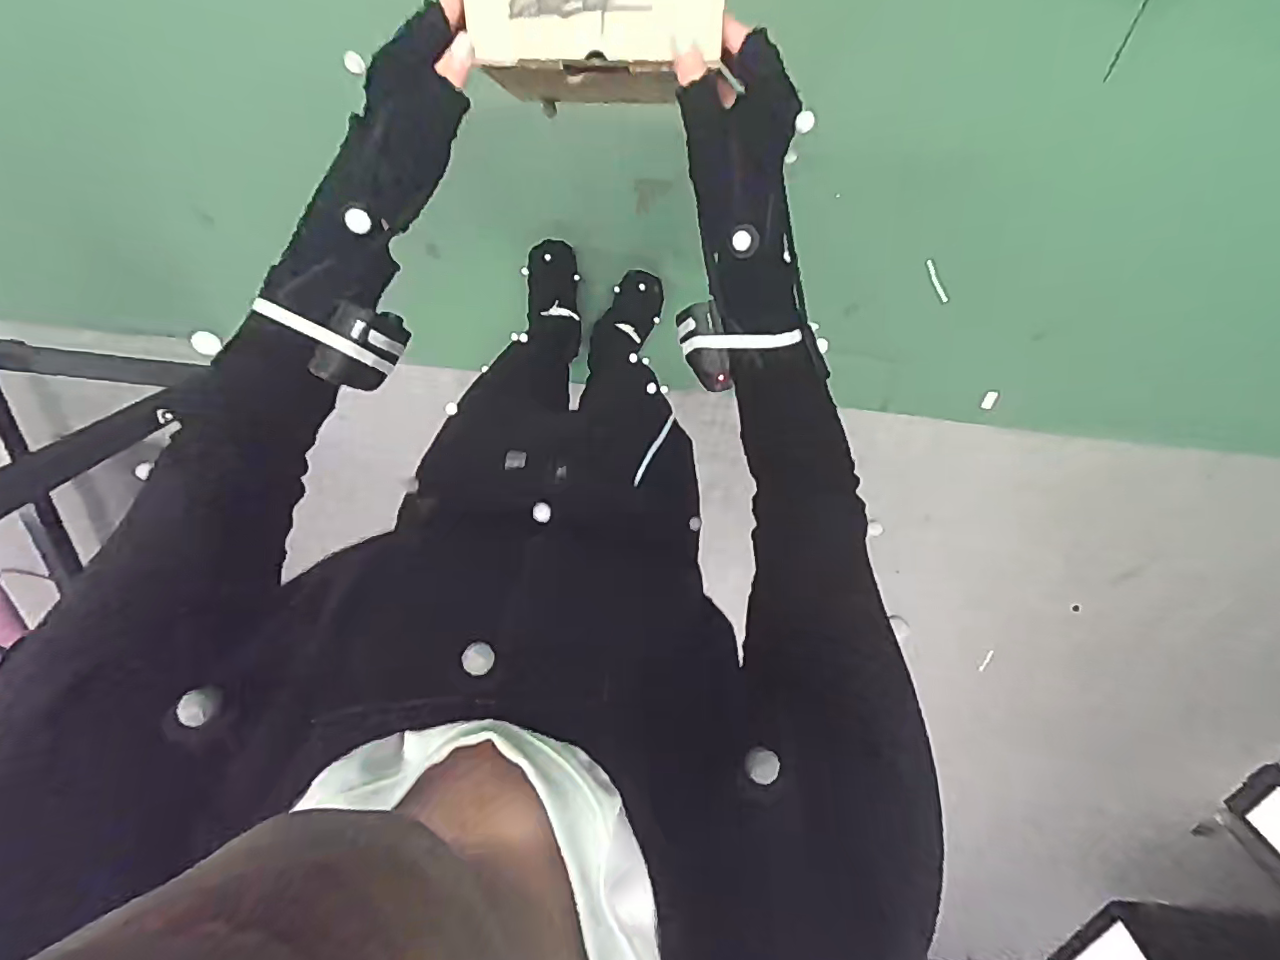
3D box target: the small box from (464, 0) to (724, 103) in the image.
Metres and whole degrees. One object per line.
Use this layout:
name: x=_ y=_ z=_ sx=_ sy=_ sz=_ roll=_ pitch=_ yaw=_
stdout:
small box: x=-0.026 y=-0.384 z=0.383 sx=0.168 sy=0.176 sz=0.179 roll=1 pitch=116 yaw=-1
